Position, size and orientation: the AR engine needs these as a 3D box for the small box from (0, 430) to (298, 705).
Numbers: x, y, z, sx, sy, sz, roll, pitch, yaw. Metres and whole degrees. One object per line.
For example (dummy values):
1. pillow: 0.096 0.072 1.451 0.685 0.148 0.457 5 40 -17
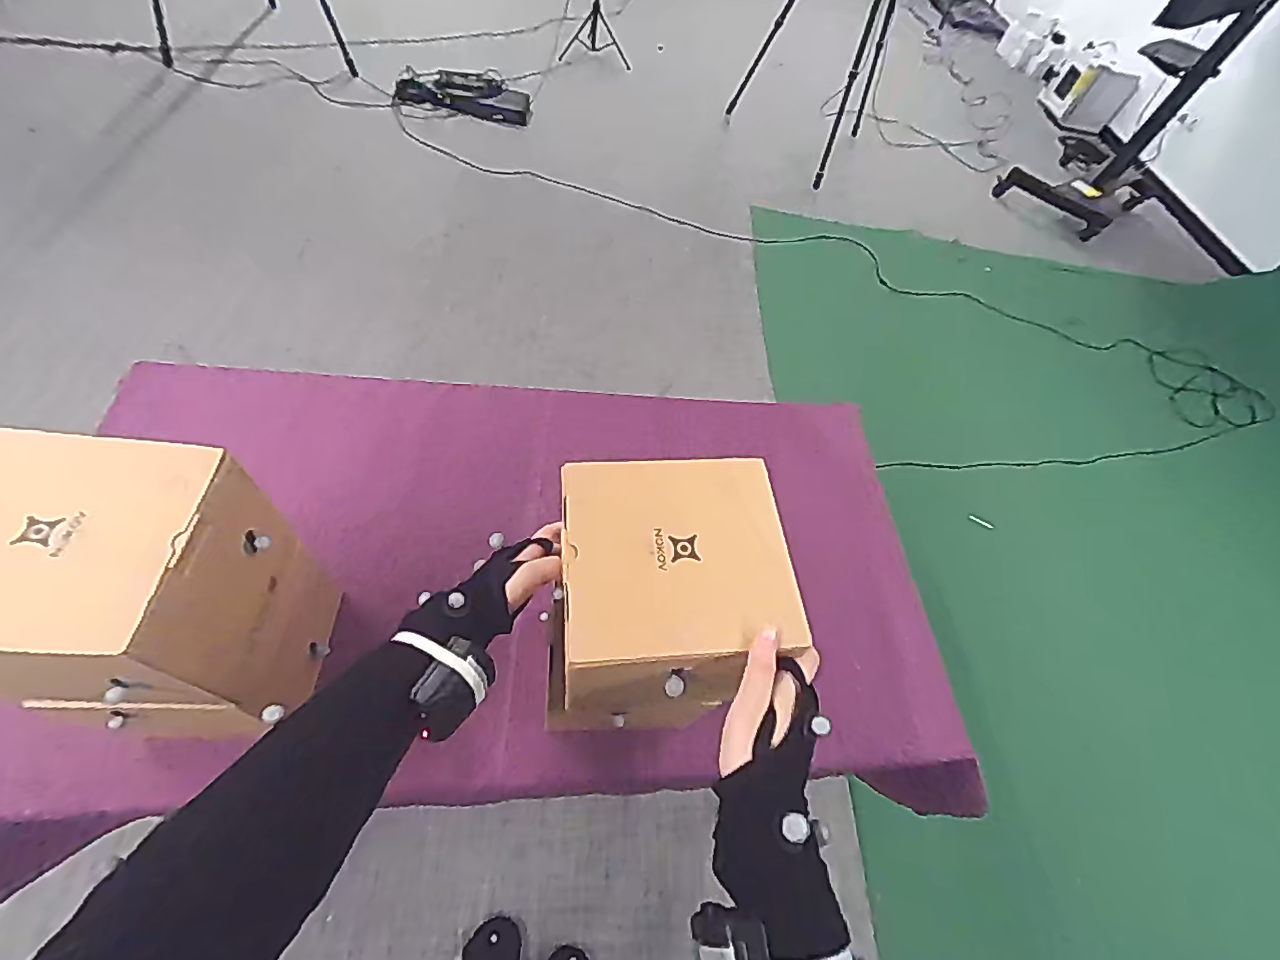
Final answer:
1. small box: -0.421 0.082 0.446 0.179 0.176 0.168 5 56 -7

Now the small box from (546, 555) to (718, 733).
1. small box: -0.019 0.202 0.646 0.179 0.176 0.168 4 57 -9

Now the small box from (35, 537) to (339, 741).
1. small box: -0.449 0.170 0.581 0.168 0.176 0.179 4 56 -8
